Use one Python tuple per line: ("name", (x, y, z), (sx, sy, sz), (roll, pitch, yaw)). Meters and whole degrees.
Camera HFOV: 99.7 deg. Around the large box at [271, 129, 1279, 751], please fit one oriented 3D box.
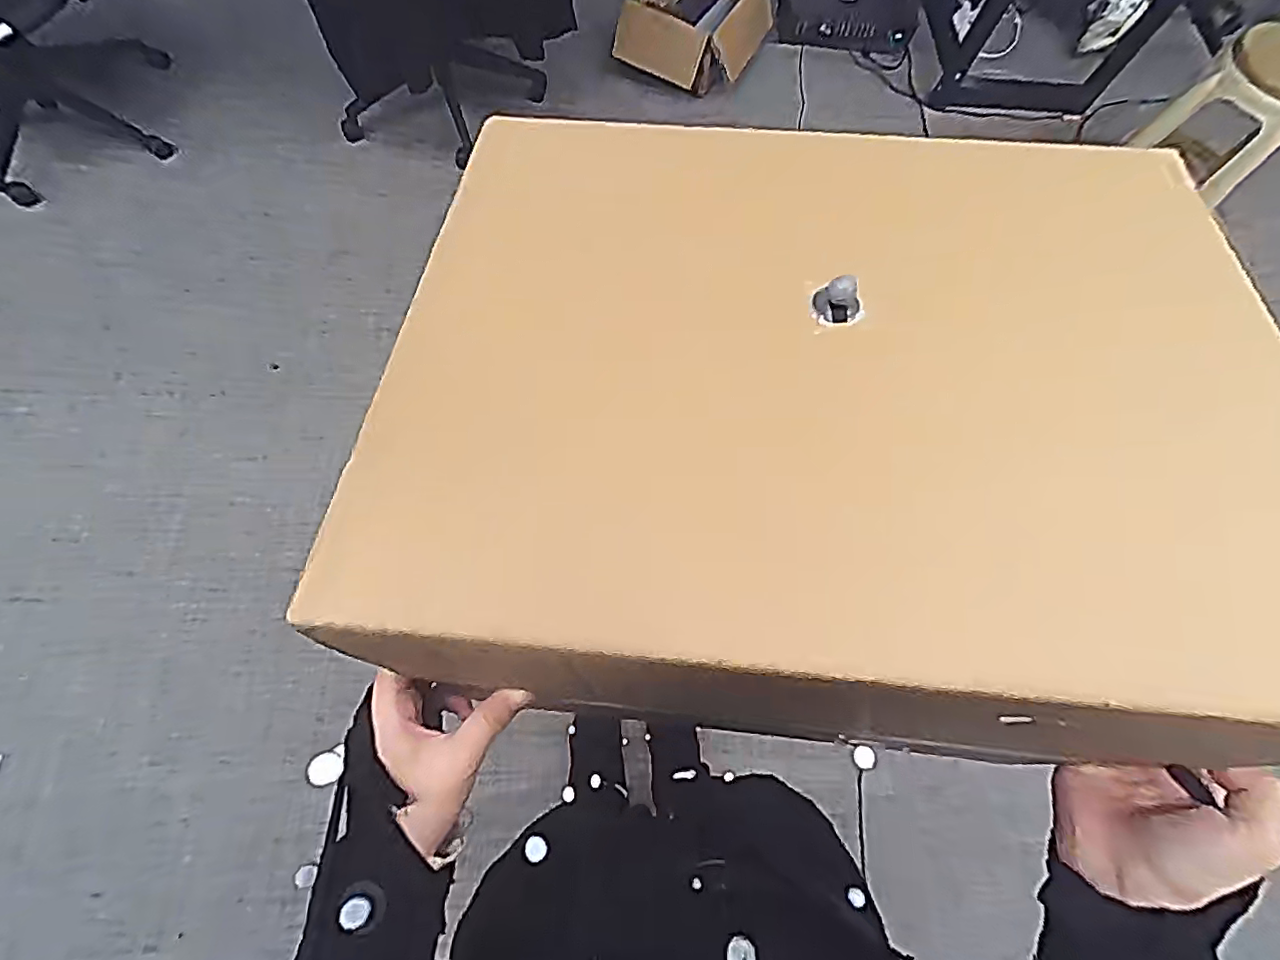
("large box", (0.076, -0.003, 0.379), (0.408, 0.320, 0.320), (3, 64, 4))
